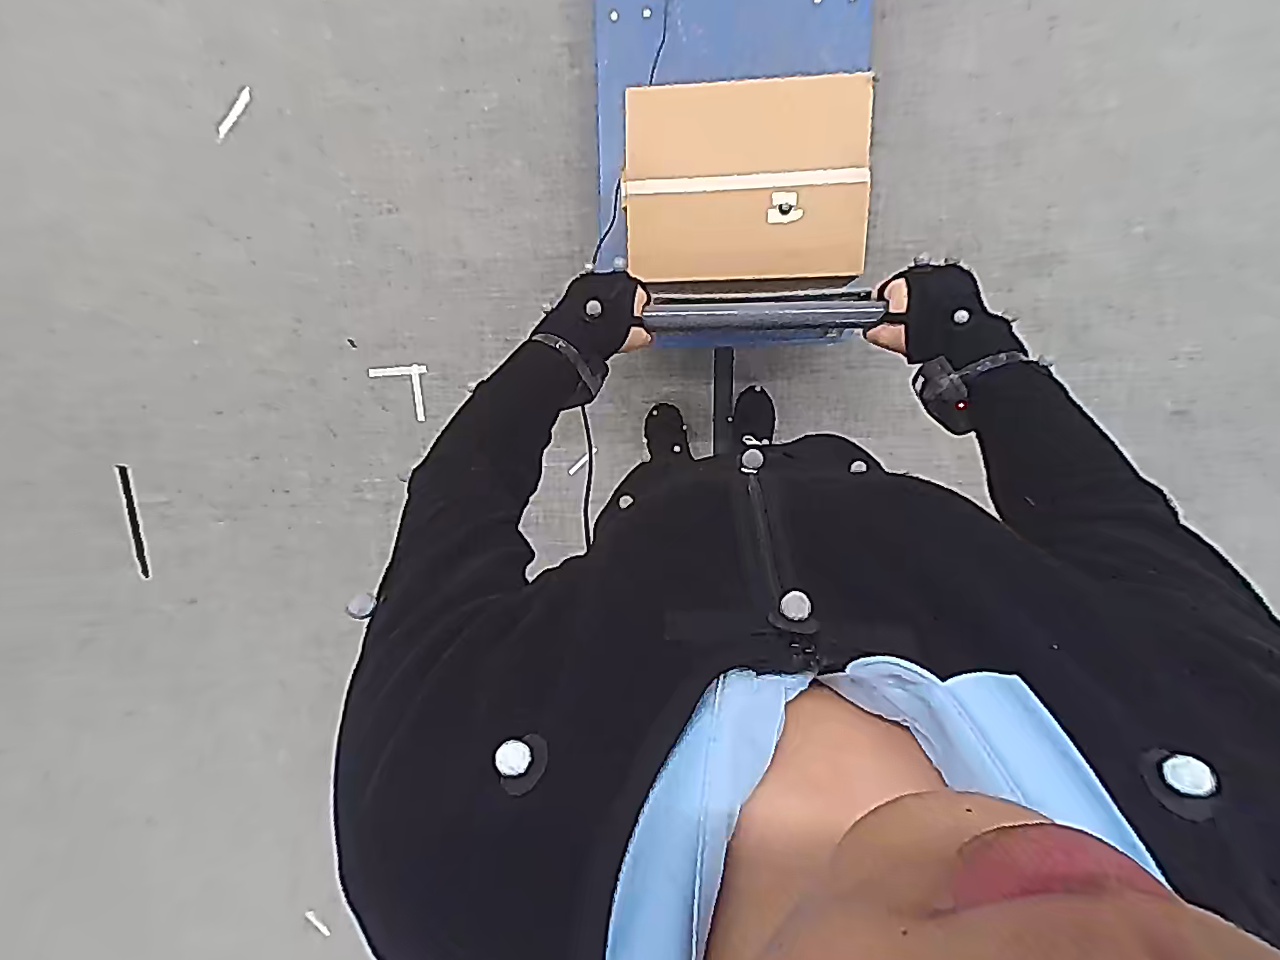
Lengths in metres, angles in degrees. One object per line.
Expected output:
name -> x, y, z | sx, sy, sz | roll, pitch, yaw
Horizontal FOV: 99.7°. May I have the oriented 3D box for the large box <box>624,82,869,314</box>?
large box -> 0.187, -0.510, 1.055 | 0.408, 0.320, 0.320 | 0, 101, 5
